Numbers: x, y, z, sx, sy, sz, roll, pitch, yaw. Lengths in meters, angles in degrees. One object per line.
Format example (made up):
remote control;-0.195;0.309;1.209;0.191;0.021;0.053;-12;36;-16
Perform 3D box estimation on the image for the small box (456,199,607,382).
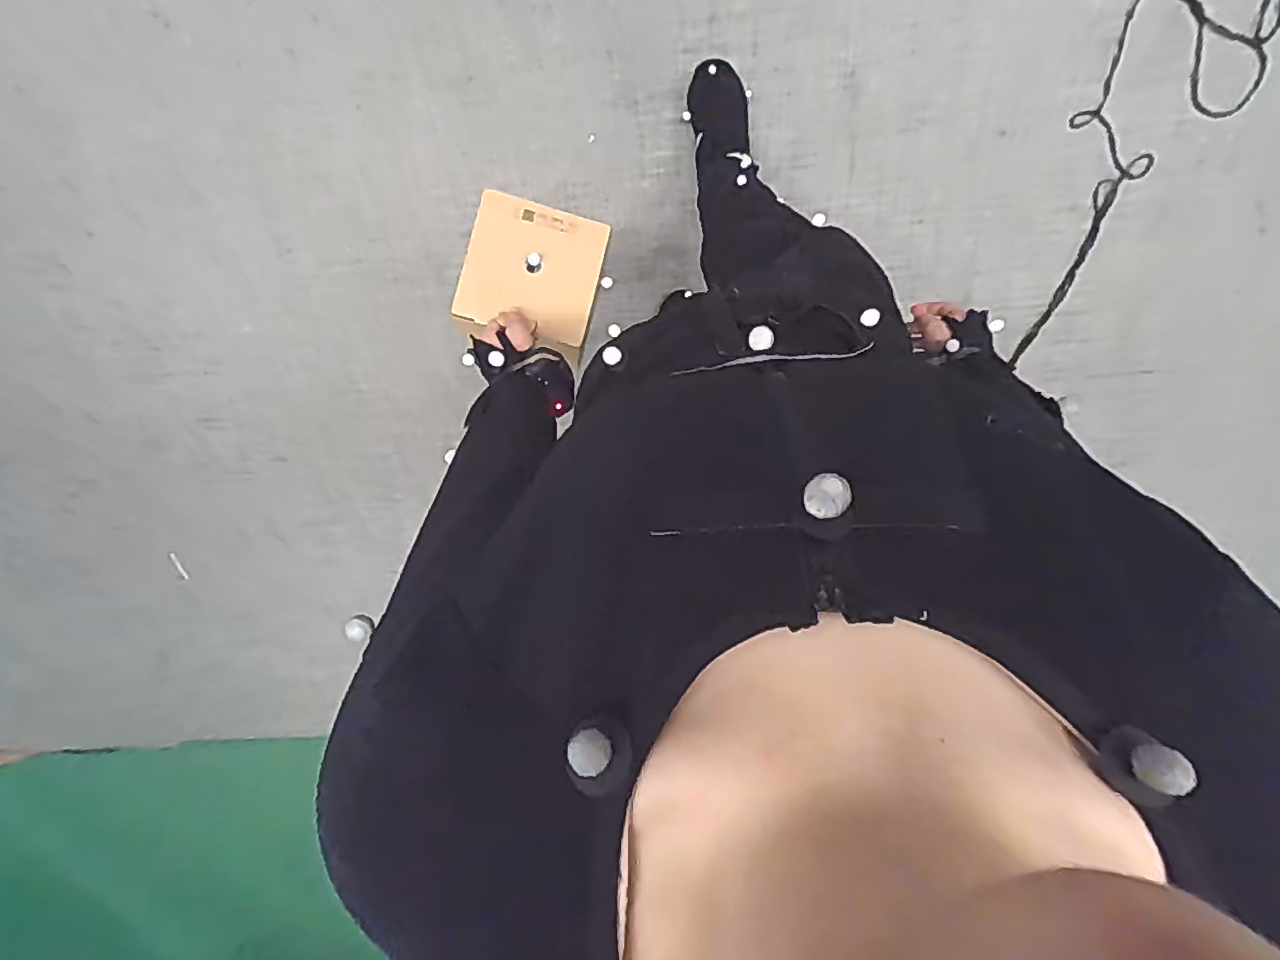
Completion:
small box;-0.146;-0.256;0.759;0.168;0.179;0.176;13;84;-8
